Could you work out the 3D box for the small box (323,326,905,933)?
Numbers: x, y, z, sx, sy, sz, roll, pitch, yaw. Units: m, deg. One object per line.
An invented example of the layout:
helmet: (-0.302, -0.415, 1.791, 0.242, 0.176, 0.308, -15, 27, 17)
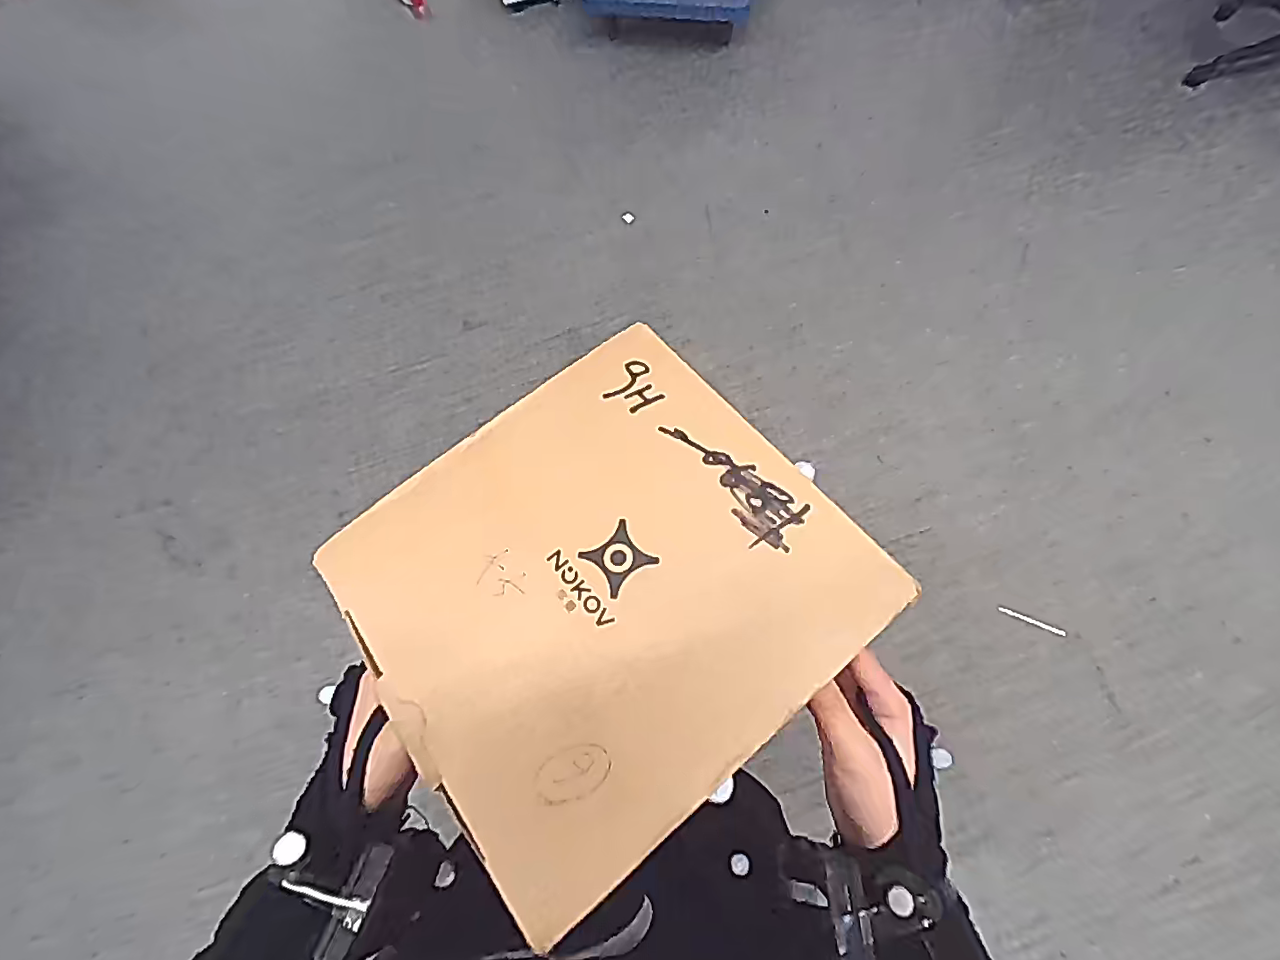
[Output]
small box: (-0.009, 0.066, 0.283, 0.179, 0.176, 0.168, -38, 69, -10)
